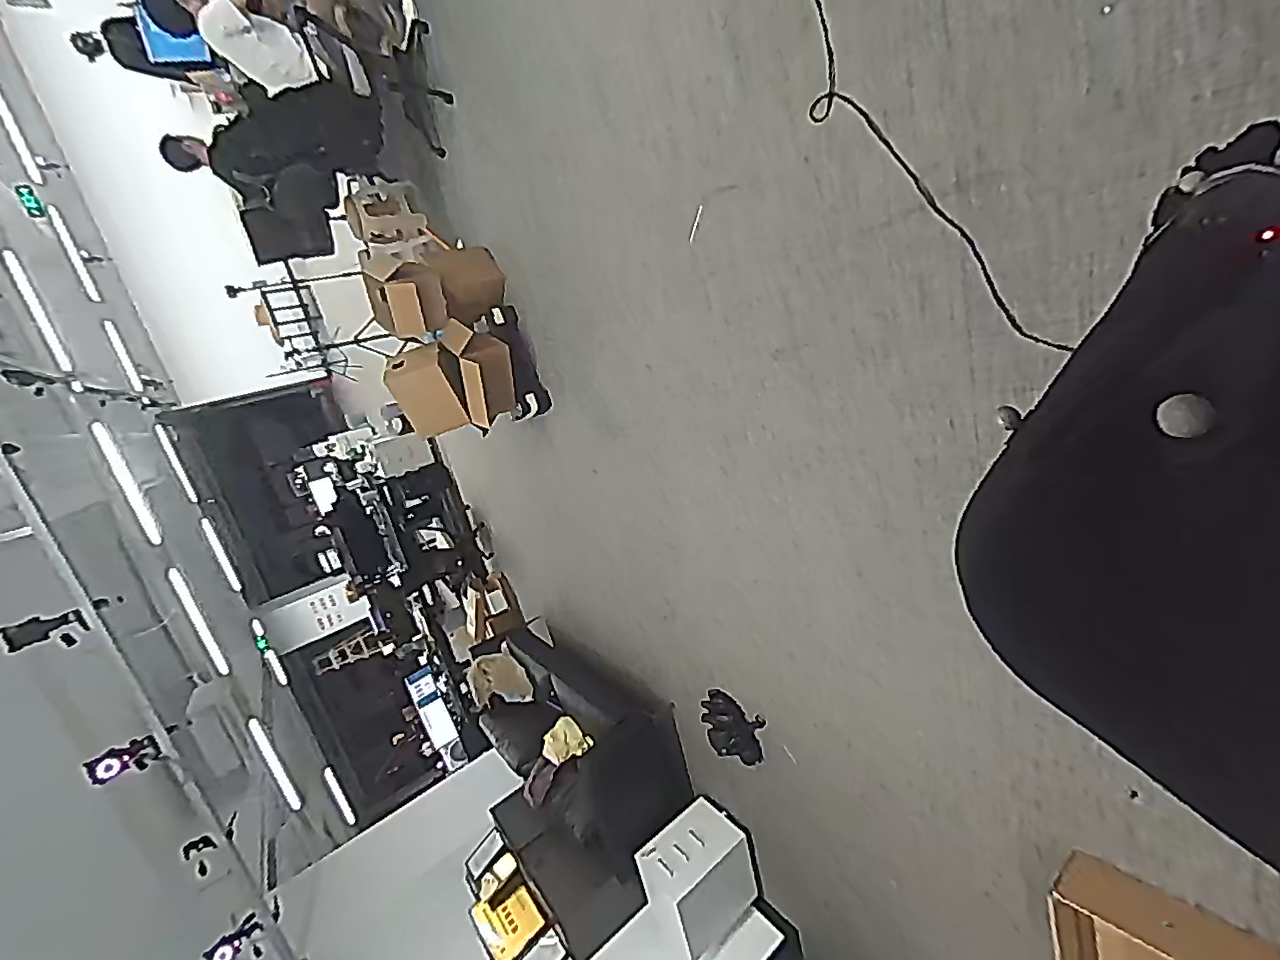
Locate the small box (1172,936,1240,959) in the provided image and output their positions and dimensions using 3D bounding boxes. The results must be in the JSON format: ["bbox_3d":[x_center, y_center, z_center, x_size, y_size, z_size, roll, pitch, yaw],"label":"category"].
[{"bbox_3d":[1.438,1.292,1.336,0.179,0.176,0.168,2,114,54],"label":"small box"}]
